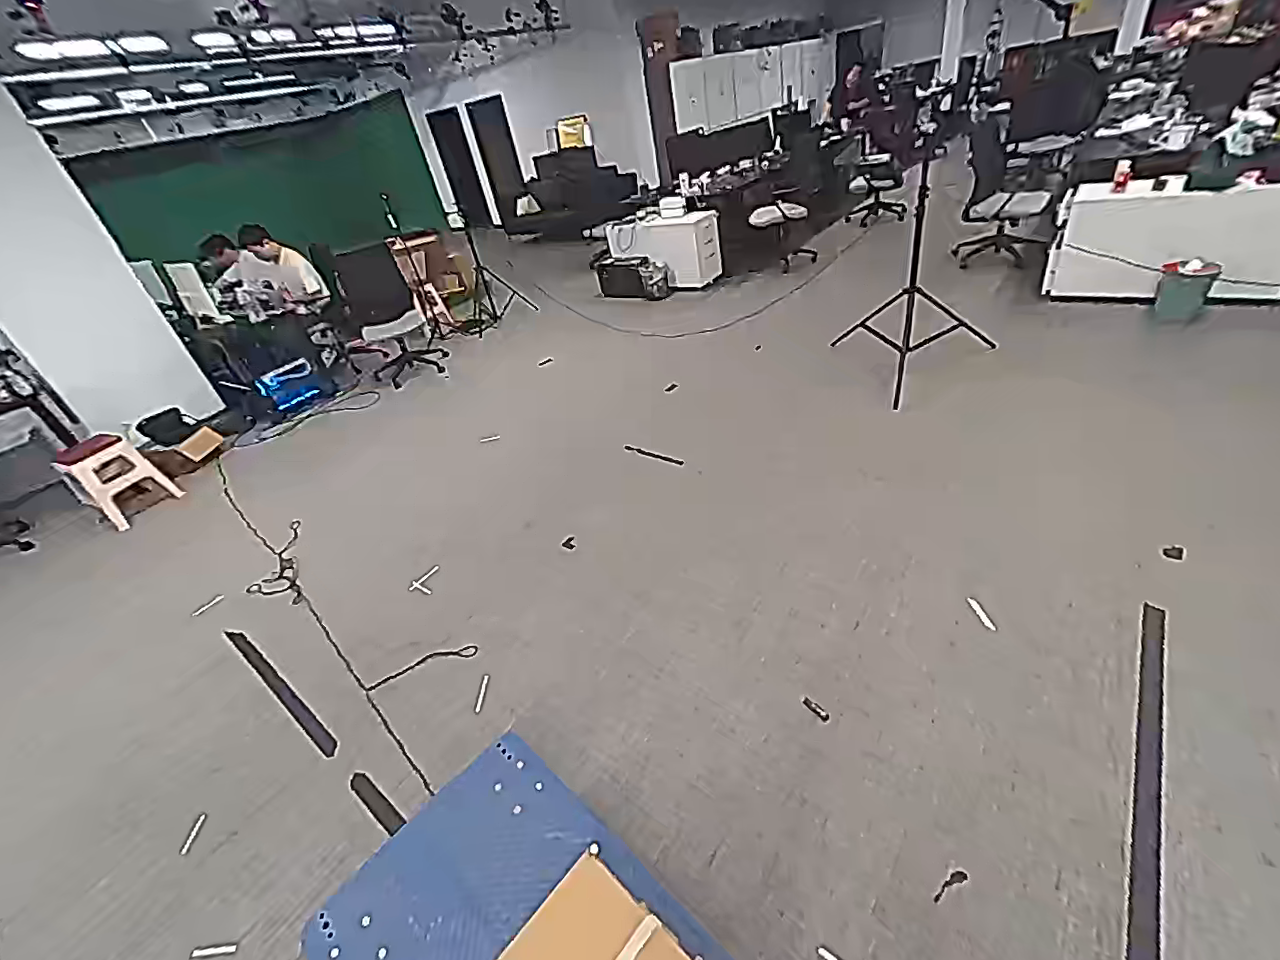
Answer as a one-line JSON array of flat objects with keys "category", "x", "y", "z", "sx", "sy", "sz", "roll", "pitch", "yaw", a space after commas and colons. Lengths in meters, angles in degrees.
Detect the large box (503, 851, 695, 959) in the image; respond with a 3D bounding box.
[{"category": "large box", "x": -0.087, "y": 0.931, "z": 0.858, "sx": 0.320, "sy": 0.320, "sz": 0.408, "roll": 25, "pitch": 49, "yaw": 36}]
